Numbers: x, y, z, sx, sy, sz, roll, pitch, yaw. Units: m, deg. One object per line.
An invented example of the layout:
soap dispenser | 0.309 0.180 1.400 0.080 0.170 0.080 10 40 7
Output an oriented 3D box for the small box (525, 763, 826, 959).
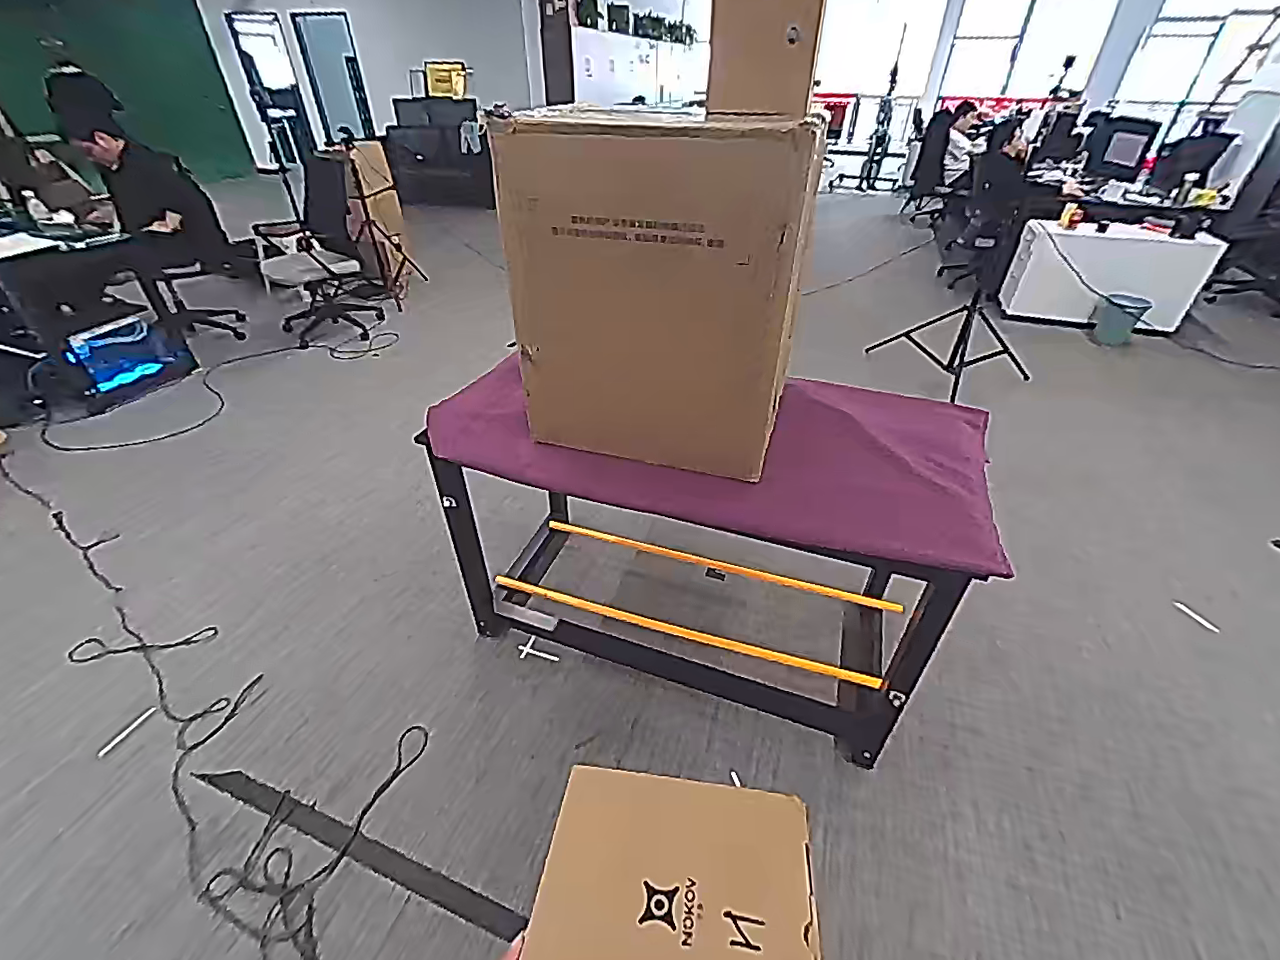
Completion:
small box | 0.027 0.333 0.376 0.179 0.176 0.168 4 32 9
